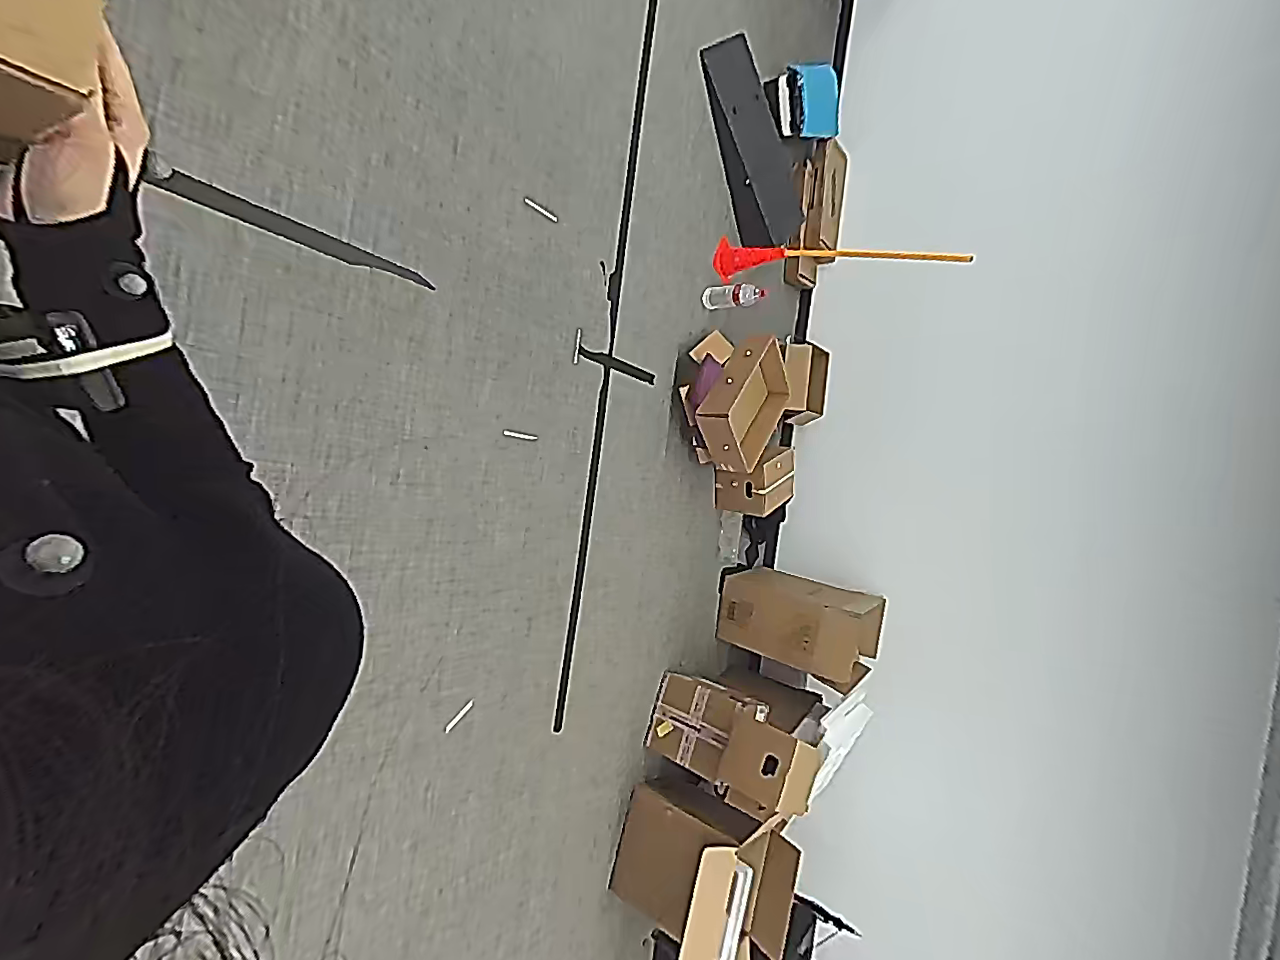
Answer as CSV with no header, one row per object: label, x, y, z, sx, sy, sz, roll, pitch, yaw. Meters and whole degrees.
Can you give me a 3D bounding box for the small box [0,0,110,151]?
small box,-0.326,-0.255,0.199,0.168,0.176,0.179,2,97,-59
